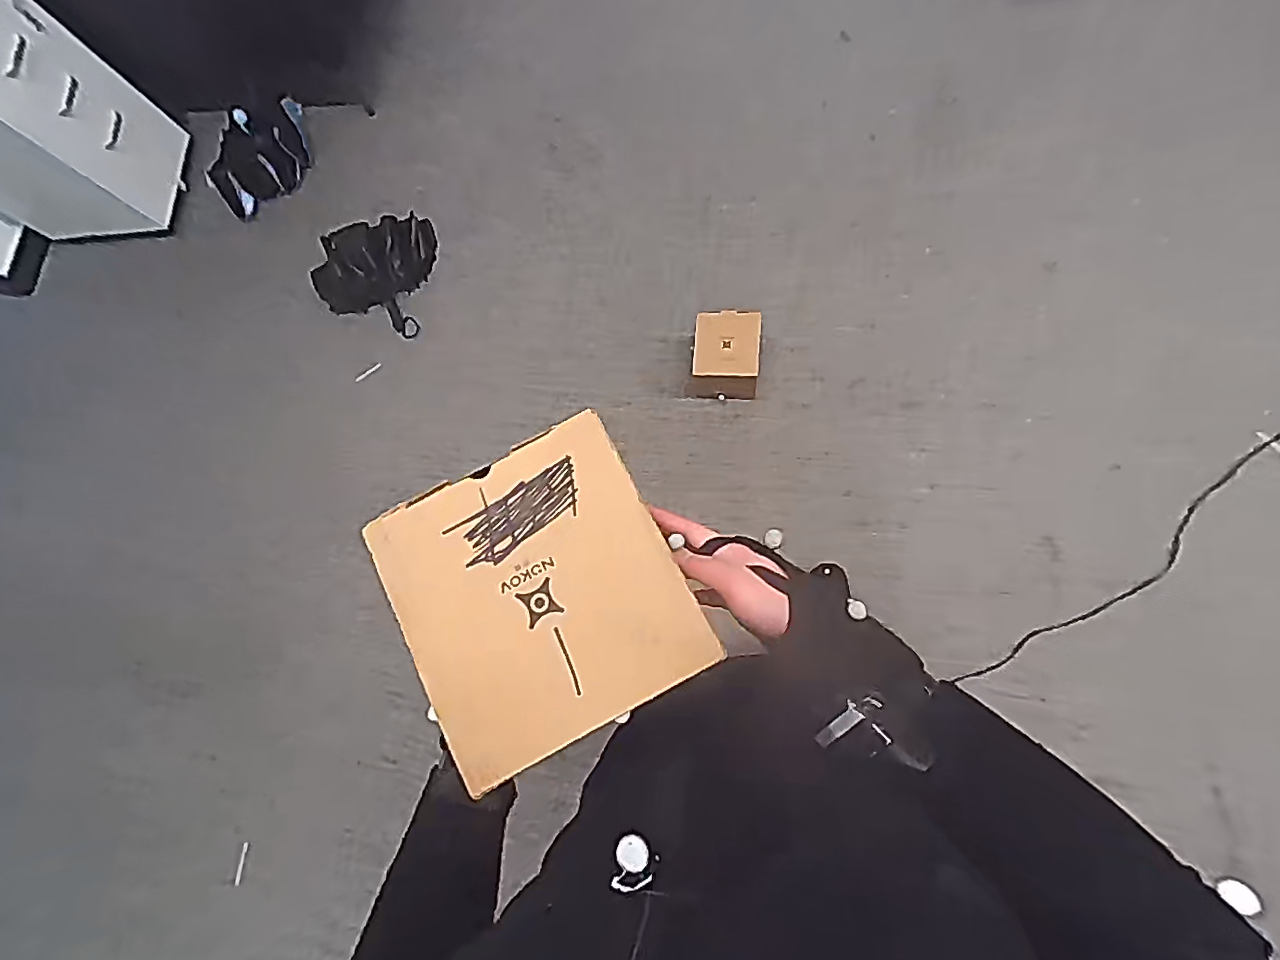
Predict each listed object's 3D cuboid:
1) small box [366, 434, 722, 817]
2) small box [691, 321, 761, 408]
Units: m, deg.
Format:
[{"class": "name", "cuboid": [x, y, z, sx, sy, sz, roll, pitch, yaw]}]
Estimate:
[{"class": "small box", "cuboid": [-0.058, 0.098, 0.400, 0.168, 0.176, 0.179, -28, 76, -3]}, {"class": "small box", "cuboid": [0.231, -0.306, 1.444, 0.168, 0.176, 0.179, 3, 79, 12]}]
